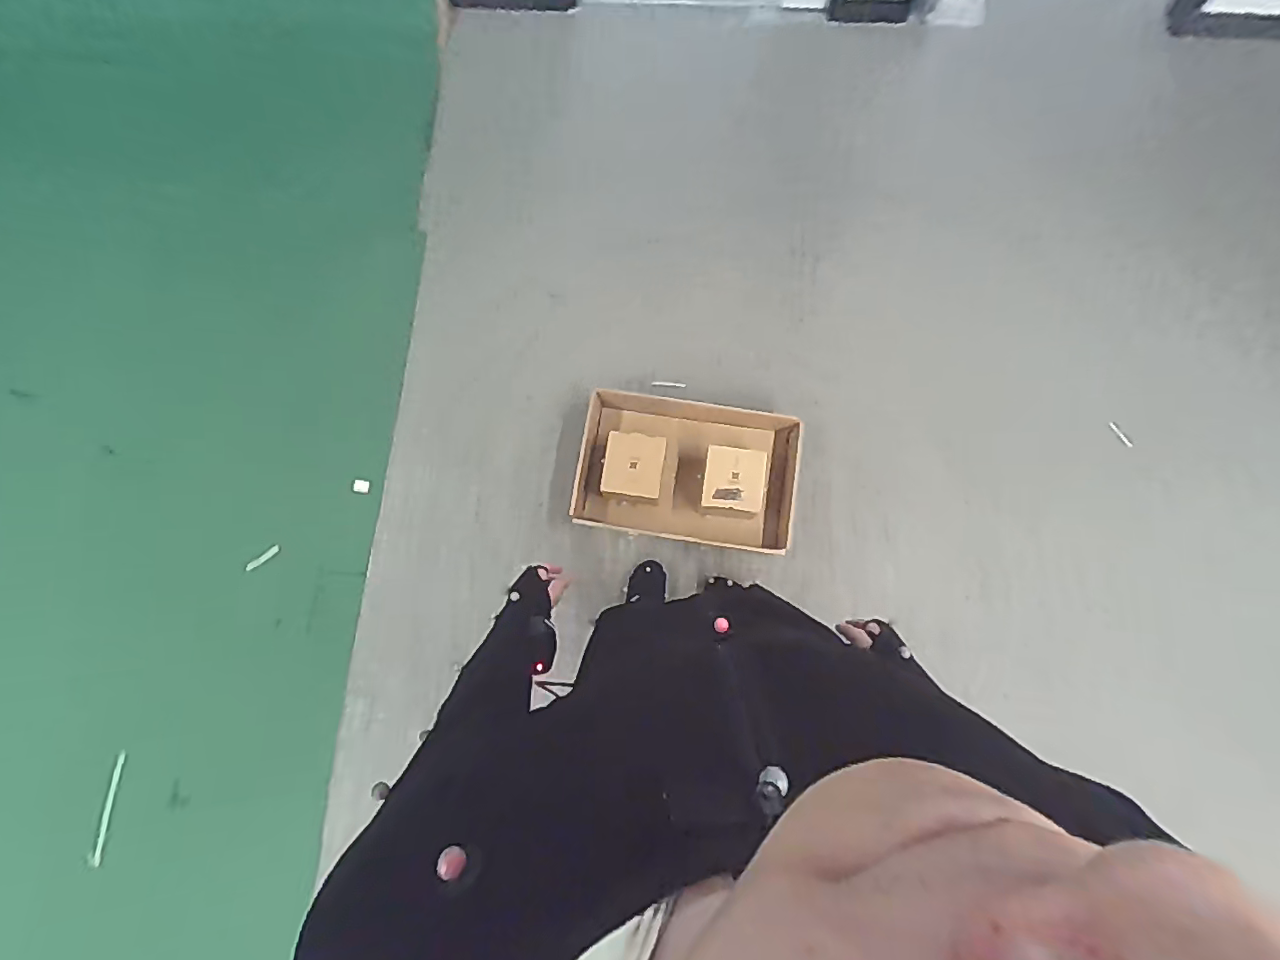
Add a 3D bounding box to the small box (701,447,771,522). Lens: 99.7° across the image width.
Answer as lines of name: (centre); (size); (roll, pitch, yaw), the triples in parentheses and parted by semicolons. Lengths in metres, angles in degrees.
small box: (0.269, 0.019, 1.540); (0.168, 0.176, 0.179); (8, 79, 4)
